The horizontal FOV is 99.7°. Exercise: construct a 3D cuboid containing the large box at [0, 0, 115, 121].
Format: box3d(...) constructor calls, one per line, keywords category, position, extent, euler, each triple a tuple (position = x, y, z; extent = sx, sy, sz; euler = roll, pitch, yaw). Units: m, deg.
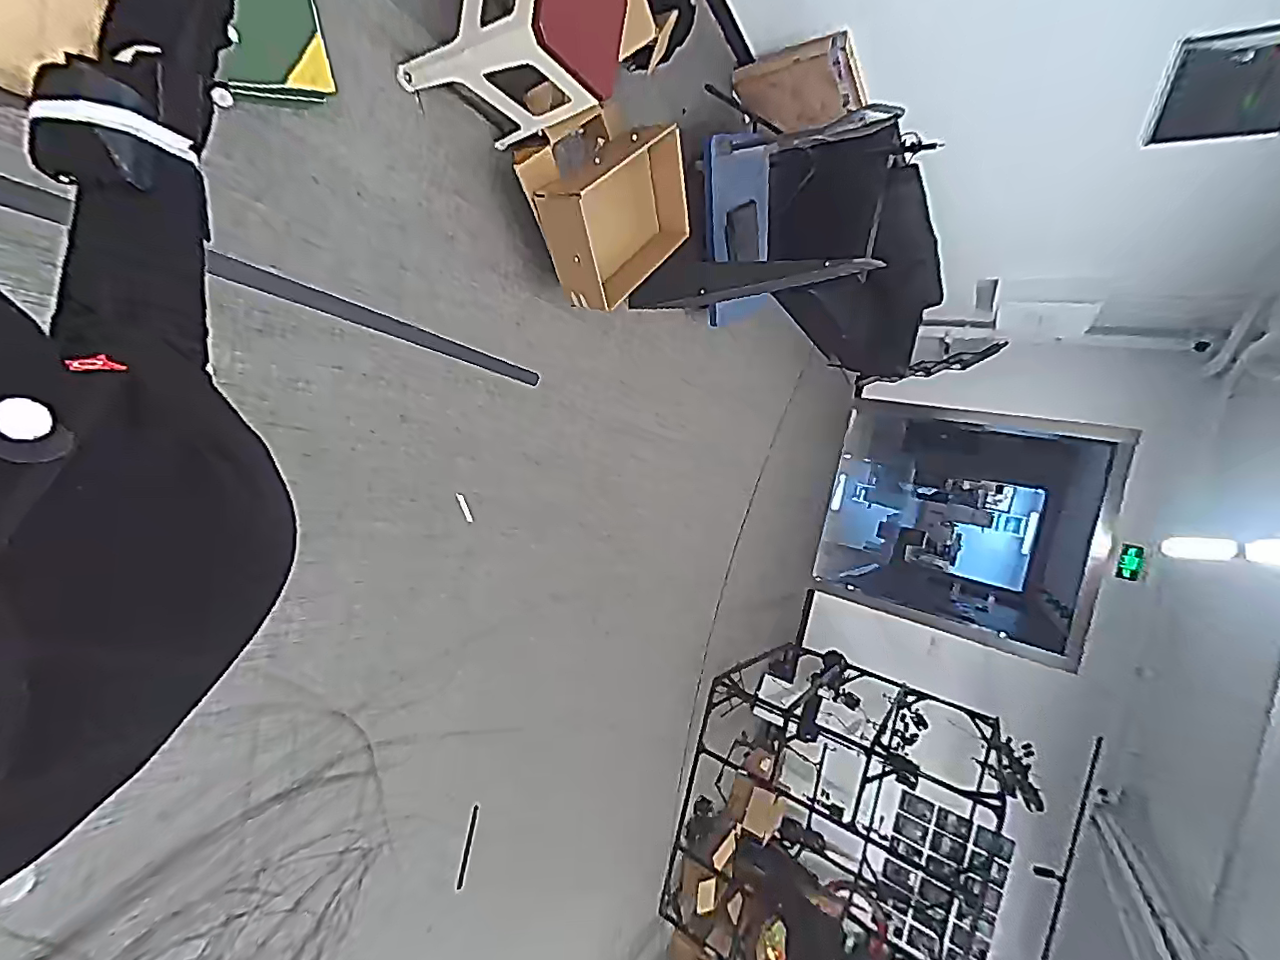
box3d(category="large box", position=(-0.575, -0.448, 0.263), extent=(0.408, 0.320, 0.320), euler=(-6, 118, -60))
